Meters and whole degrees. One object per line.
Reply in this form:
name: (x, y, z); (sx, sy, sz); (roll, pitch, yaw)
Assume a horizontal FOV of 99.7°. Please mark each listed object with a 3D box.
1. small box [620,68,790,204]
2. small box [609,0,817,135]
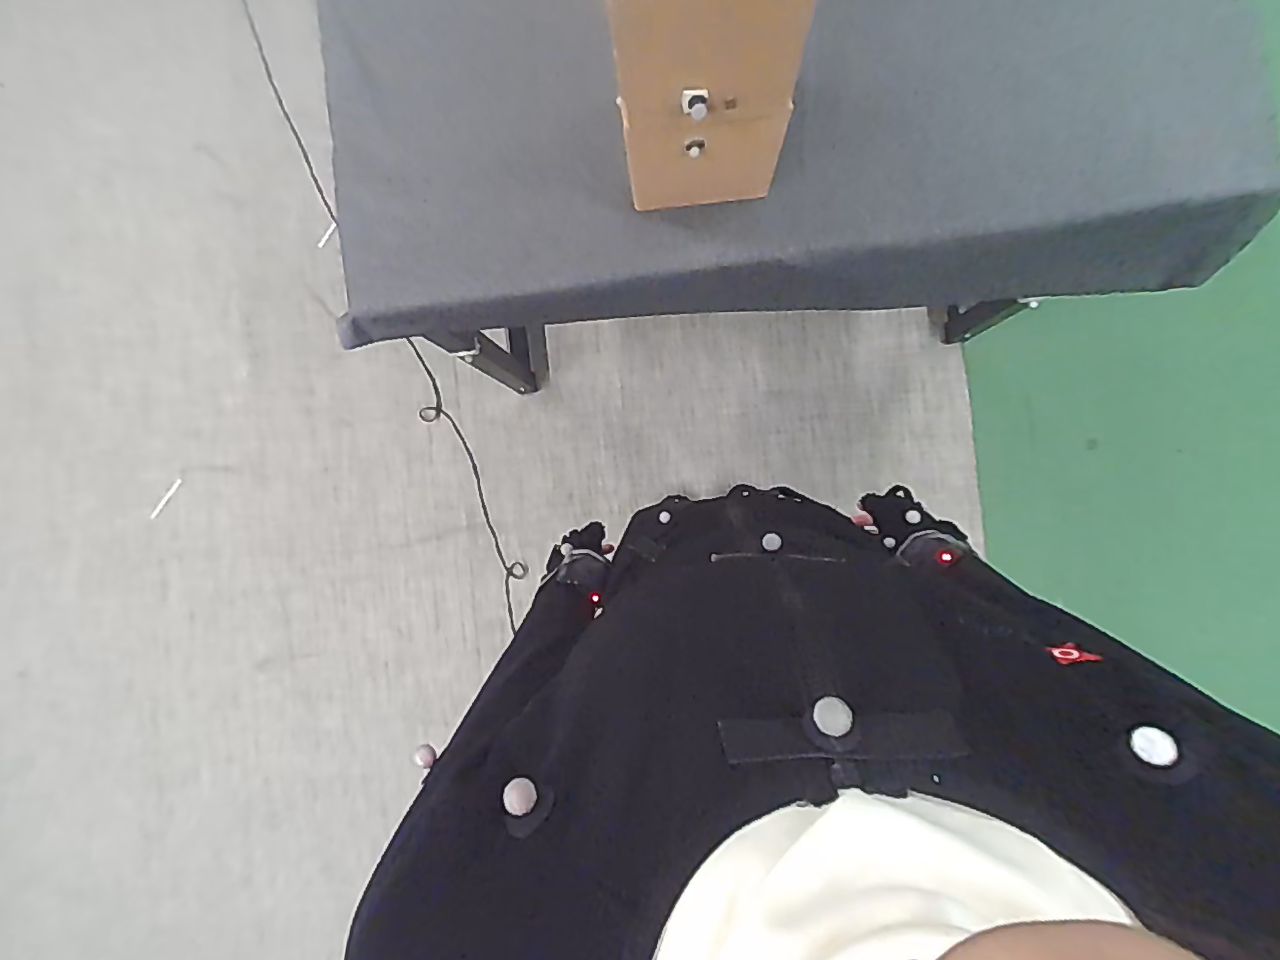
small box: (0.071, -0.452, 0.643); (0.179, 0.176, 0.168); (-3, 89, 4)
small box: (0.057, -0.454, 0.482); (0.168, 0.176, 0.179); (-5, 89, 7)
